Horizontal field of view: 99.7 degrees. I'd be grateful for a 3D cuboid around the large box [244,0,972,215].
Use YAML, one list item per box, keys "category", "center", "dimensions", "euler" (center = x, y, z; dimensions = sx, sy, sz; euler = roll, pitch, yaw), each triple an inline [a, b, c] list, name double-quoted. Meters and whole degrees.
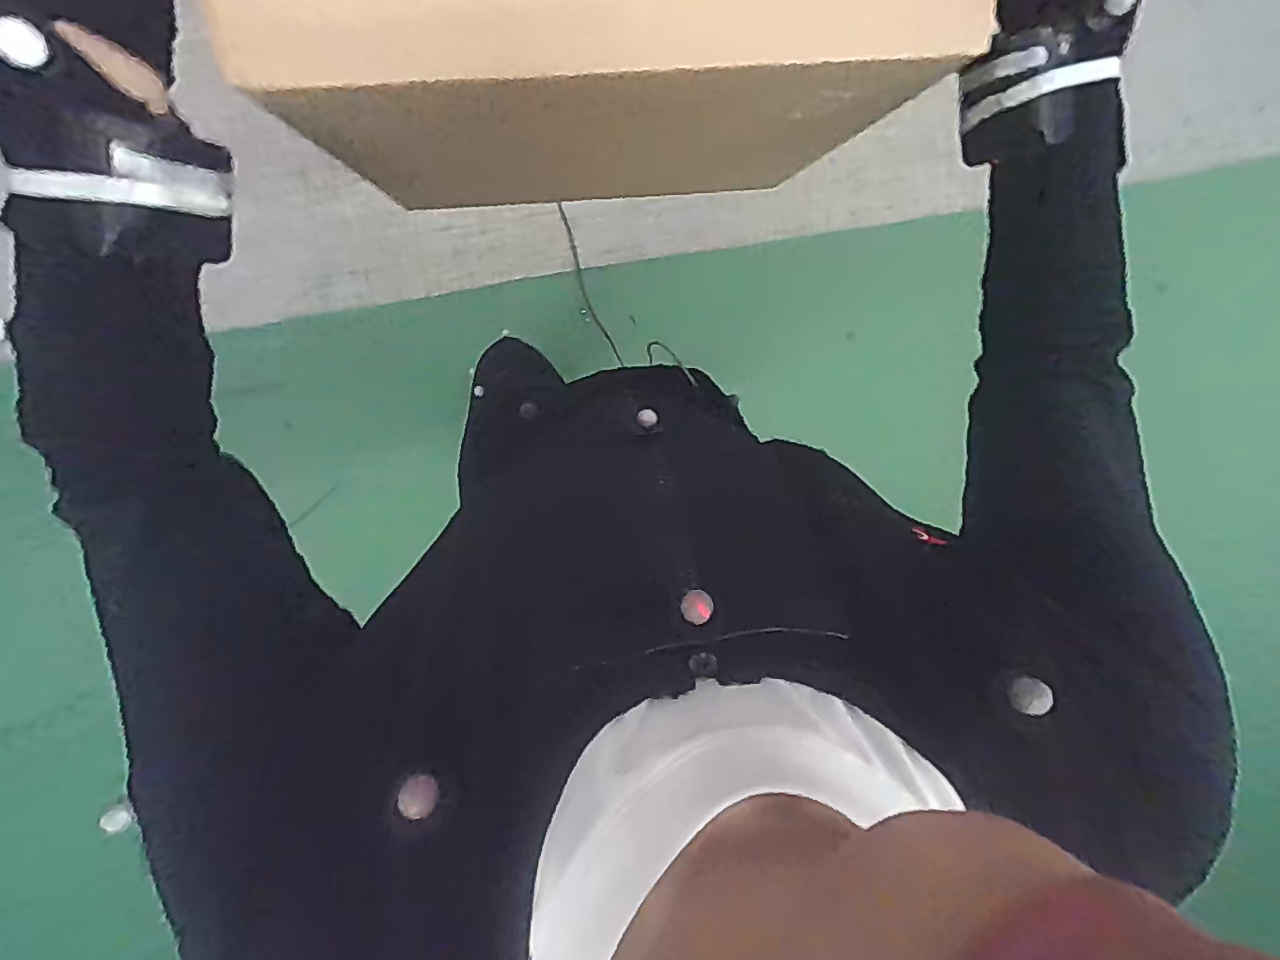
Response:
- category: "large box"
  center: [-0.037, -0.411, 0.401]
  dimensions: [0.408, 0.320, 0.320]
  euler: [-8, 107, -6]
